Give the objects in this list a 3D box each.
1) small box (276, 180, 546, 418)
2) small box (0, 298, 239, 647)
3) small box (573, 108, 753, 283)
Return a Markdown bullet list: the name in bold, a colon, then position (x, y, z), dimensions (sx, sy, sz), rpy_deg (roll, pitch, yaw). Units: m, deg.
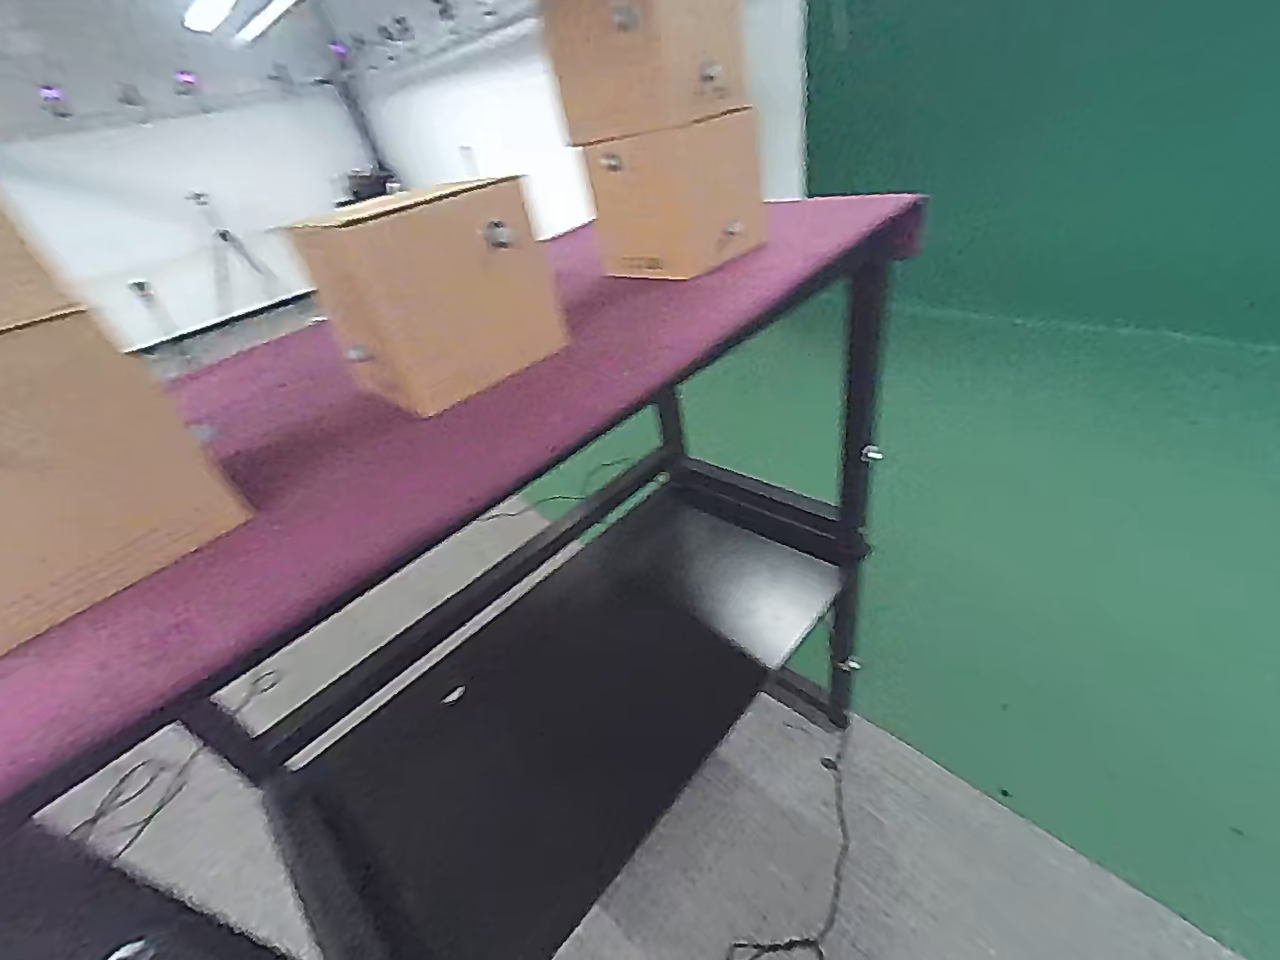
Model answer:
- **small box**: position (-0.214, -0.187, 0.546), dimensions (0.168, 0.176, 0.179), rpy_deg (22, 48, 41)
- **small box**: position (-0.430, -0.009, 0.368), dimensions (0.168, 0.176, 0.179), rpy_deg (20, 46, 37)
- **small box**: position (0.040, -0.383, 0.737), dimensions (0.168, 0.176, 0.179), rpy_deg (21, 47, 41)
